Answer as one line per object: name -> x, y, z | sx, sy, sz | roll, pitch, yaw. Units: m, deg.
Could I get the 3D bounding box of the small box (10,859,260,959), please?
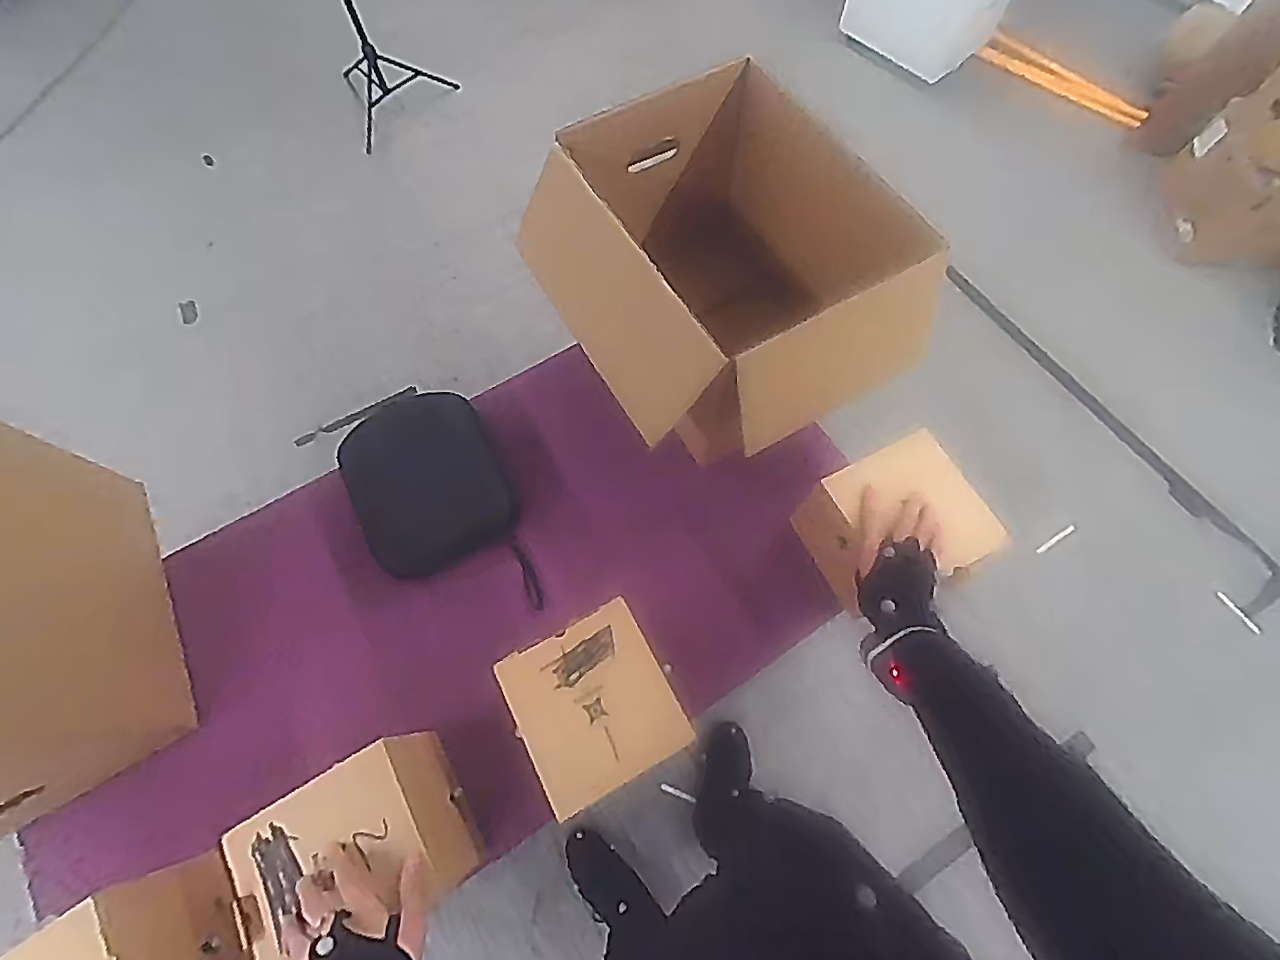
small box -> -0.550, 0.547, 0.564 | 0.179, 0.176, 0.168 | -33, 72, -13

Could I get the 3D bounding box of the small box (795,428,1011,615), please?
small box -> 0.338, 0.064, 0.739 | 0.168, 0.176, 0.179 | -26, 71, -8

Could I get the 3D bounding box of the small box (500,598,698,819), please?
small box -> -0.048, 0.272, 0.665 | 0.168, 0.176, 0.179 | -27, 71, -9
